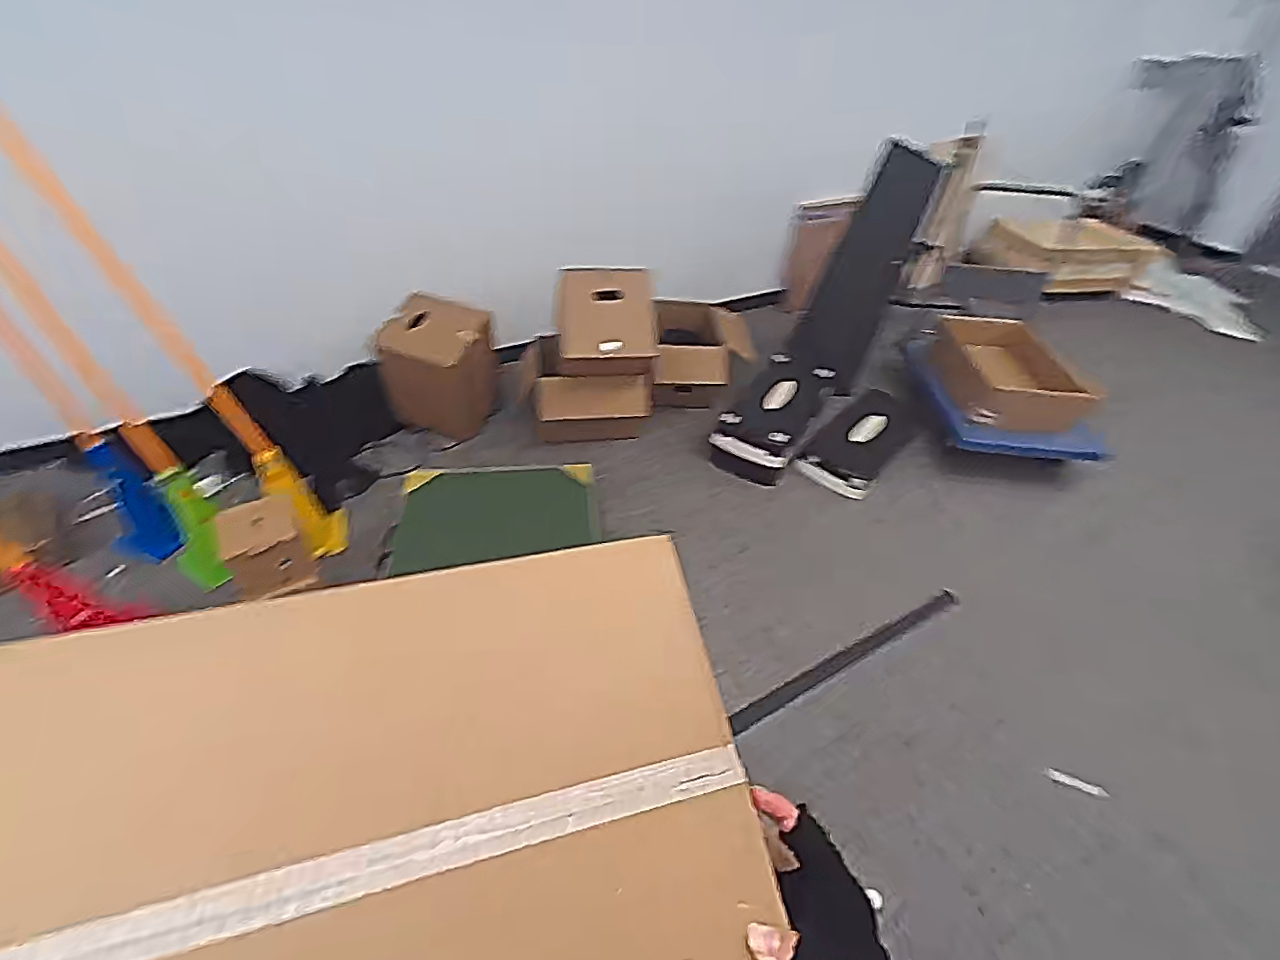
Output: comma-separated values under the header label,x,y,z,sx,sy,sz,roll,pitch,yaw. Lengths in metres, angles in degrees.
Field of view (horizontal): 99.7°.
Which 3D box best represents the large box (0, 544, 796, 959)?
label,x,y,z,sx,sy,sz,roll,pitch,yaw
large box,-0.152,0.282,0.407,0.408,0.320,0.320,-8,60,-14
